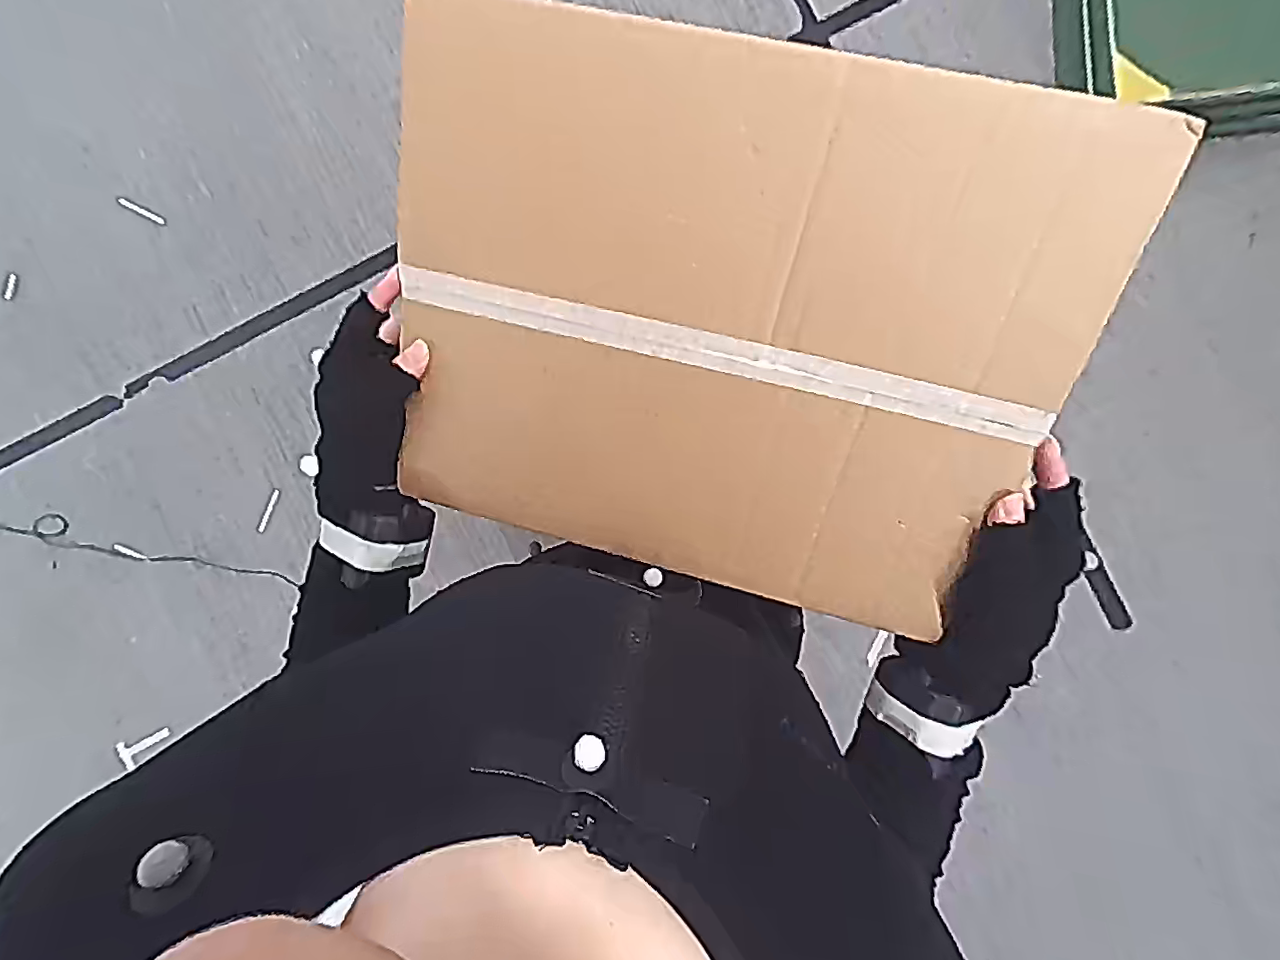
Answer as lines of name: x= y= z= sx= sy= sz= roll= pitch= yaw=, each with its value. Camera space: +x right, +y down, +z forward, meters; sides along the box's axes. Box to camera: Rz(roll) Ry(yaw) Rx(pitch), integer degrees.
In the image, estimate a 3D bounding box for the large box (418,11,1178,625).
large box: x=0.073 y=-0.133 z=0.478 sx=0.408 sy=0.320 sz=0.320 roll=15 pitch=114 yaw=6
